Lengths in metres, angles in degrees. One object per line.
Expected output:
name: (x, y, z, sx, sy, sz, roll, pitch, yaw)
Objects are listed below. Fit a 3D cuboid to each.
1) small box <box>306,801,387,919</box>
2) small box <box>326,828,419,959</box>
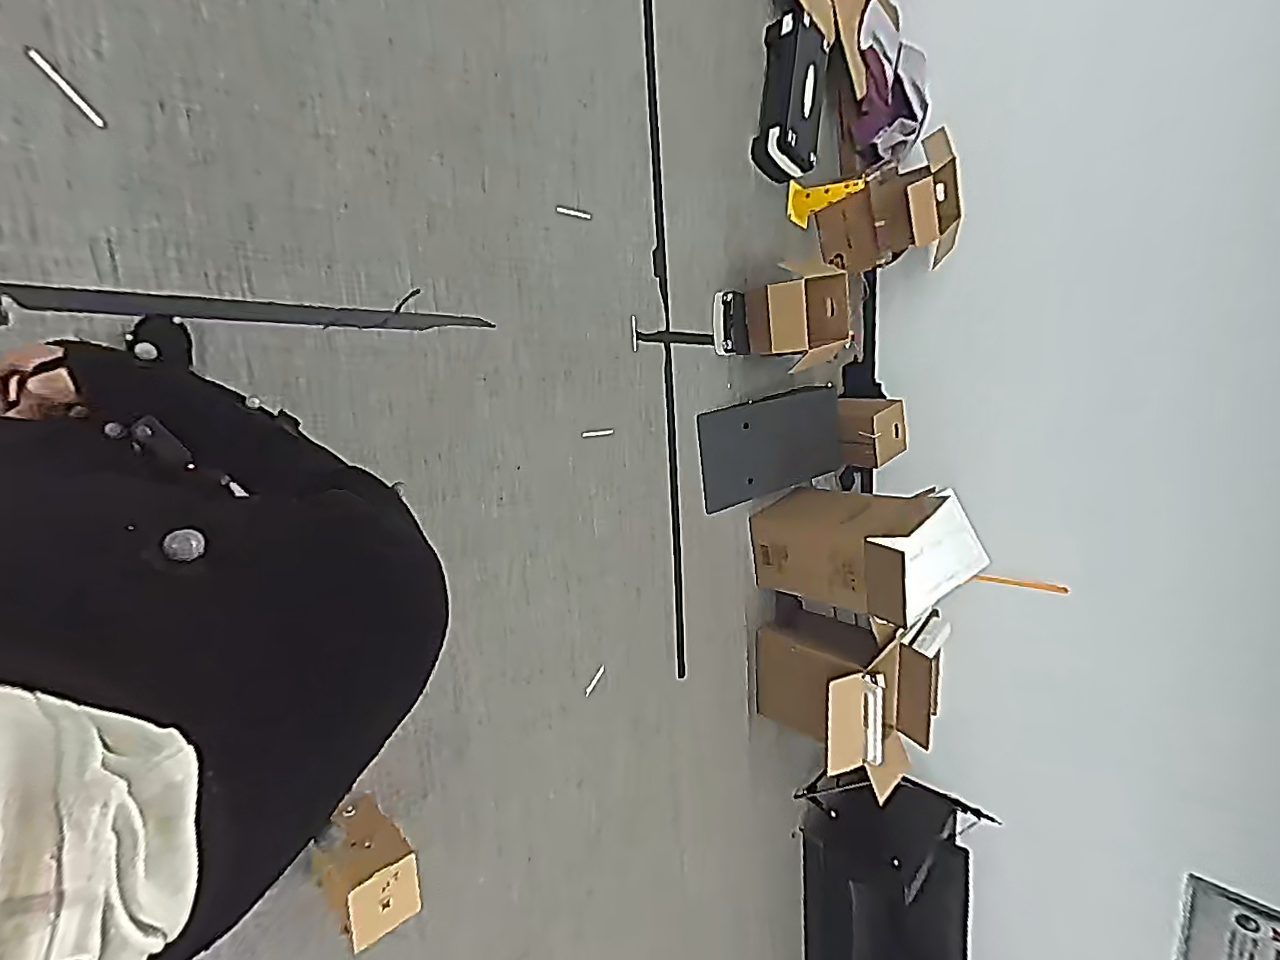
small box: (-0.812, 1.048, 1.508, 0.168, 0.176, 0.179, -9, 101, -45)
small box: (-0.691, 1.055, 1.397, 0.168, 0.176, 0.179, -10, 101, -45)
